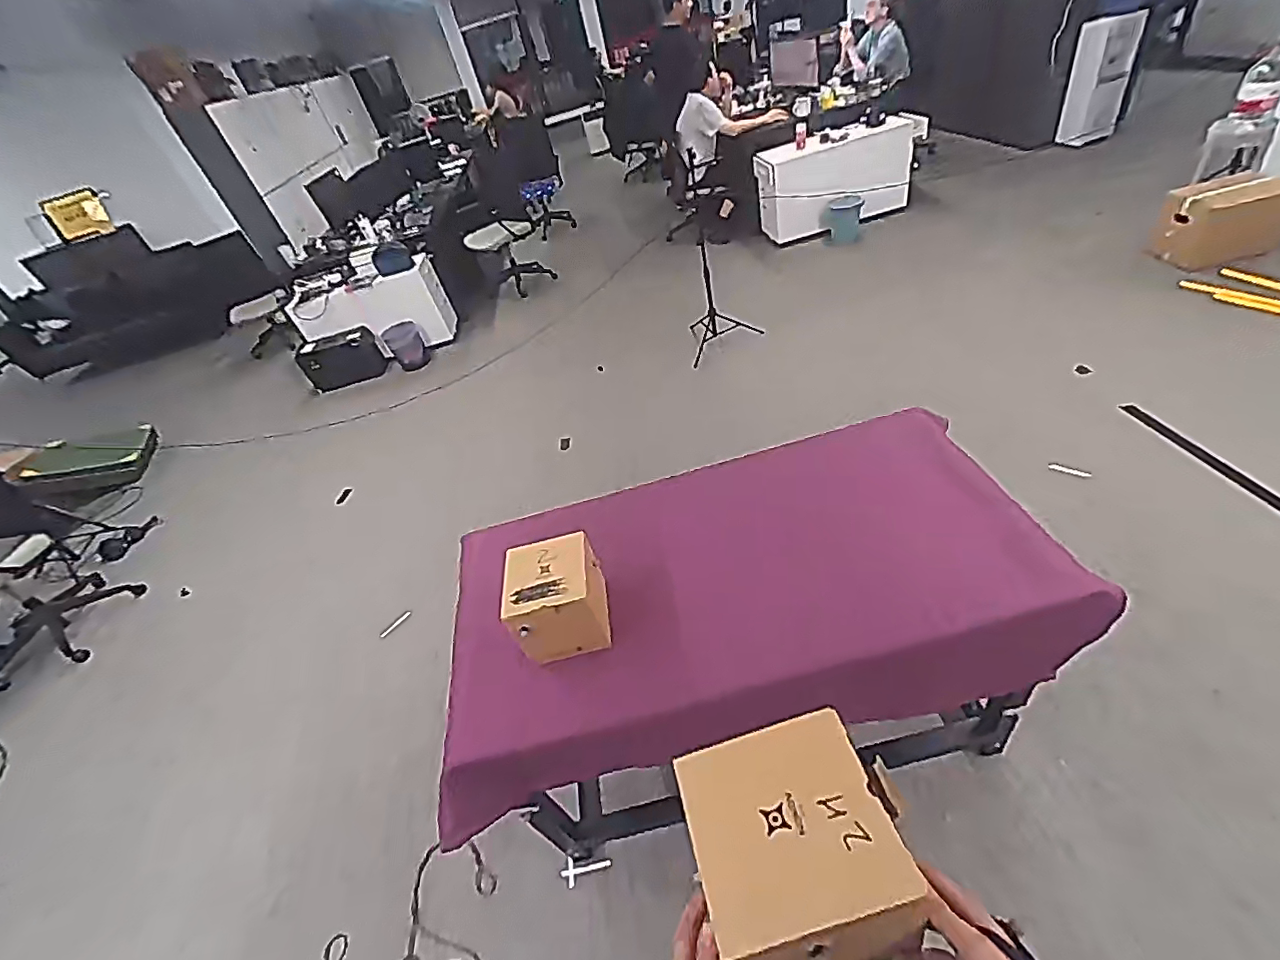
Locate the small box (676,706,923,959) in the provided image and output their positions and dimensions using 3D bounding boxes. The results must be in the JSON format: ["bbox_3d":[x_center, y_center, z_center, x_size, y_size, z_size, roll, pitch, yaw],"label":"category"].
[{"bbox_3d":[0.152,0.365,0.537,0.179,0.176,0.168,-18,36,0],"label":"small box"}]
